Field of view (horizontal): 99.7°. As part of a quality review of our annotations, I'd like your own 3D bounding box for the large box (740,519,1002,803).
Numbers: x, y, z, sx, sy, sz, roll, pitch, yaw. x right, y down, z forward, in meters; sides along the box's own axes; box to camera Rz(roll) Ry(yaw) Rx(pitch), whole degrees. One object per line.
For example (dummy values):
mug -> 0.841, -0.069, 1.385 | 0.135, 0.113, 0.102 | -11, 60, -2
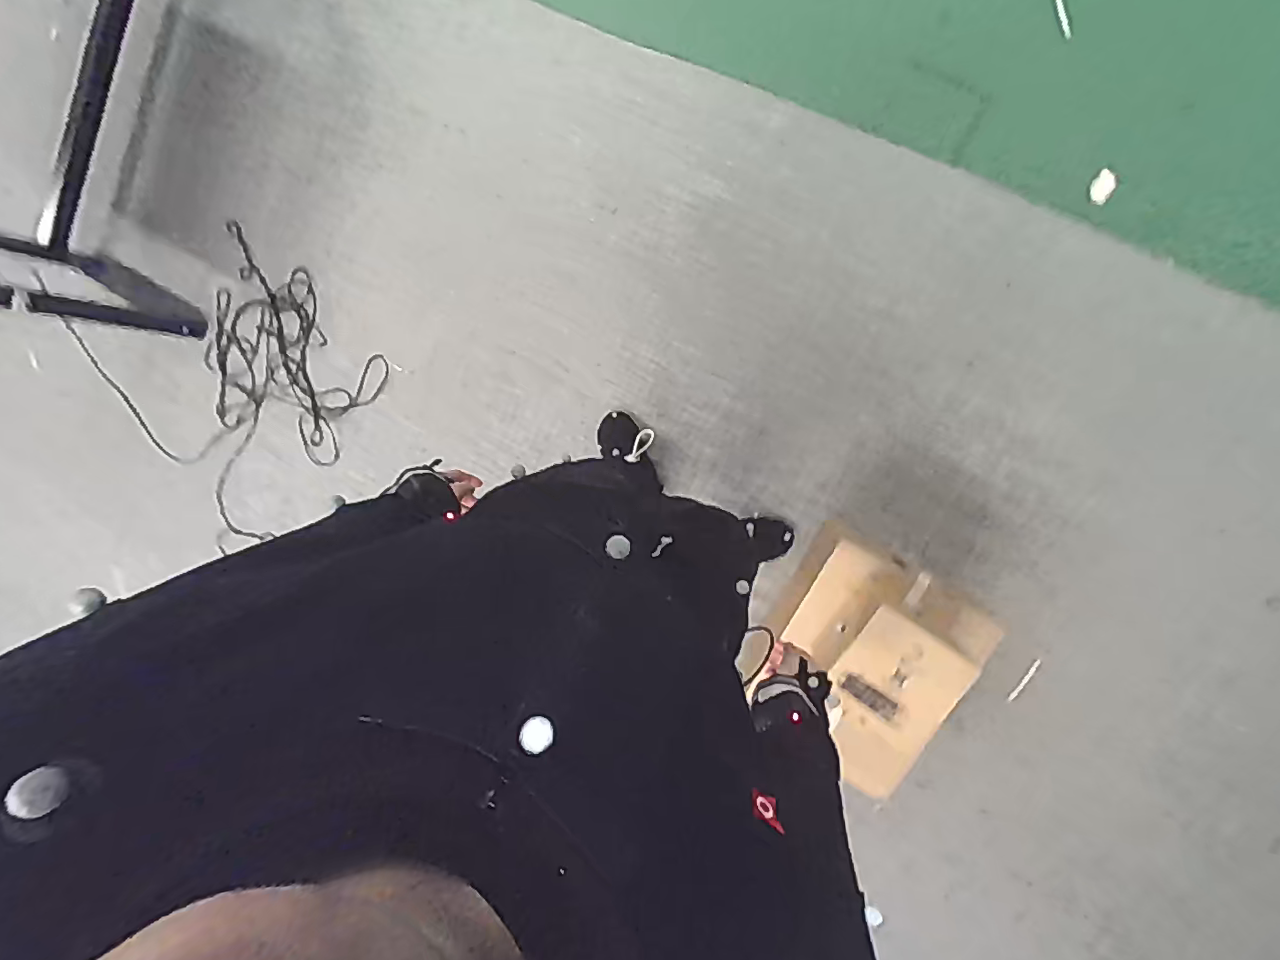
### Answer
large box -> 0.449, 0.344, 1.137 | 0.320, 0.320, 0.408 | 30, 103, 12
